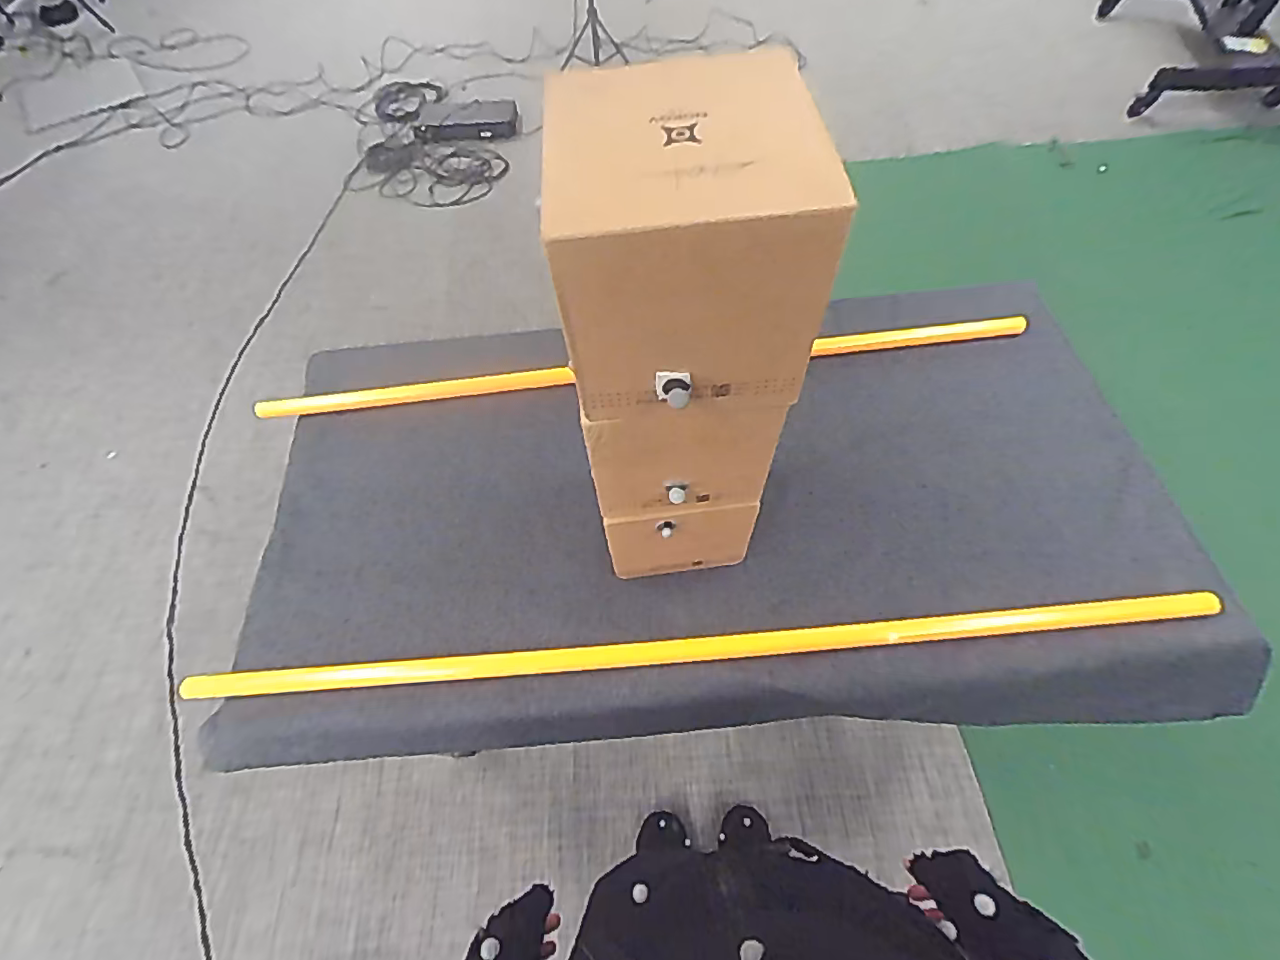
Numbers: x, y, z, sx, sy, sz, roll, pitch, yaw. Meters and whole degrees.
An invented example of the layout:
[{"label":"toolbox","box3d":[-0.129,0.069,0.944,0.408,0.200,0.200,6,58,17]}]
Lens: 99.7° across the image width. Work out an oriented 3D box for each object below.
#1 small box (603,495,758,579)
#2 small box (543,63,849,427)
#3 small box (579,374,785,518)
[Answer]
[{"label":"small box","box3d":[0.039,0.006,0.676,0.168,0.176,0.179,-8,59,0]},{"label":"small box","box3d":[0.028,-0.162,0.396,0.168,0.176,0.179,-7,60,1]},{"label":"small box","box3d":[0.031,-0.081,0.537,0.168,0.176,0.179,-6,60,0]}]
